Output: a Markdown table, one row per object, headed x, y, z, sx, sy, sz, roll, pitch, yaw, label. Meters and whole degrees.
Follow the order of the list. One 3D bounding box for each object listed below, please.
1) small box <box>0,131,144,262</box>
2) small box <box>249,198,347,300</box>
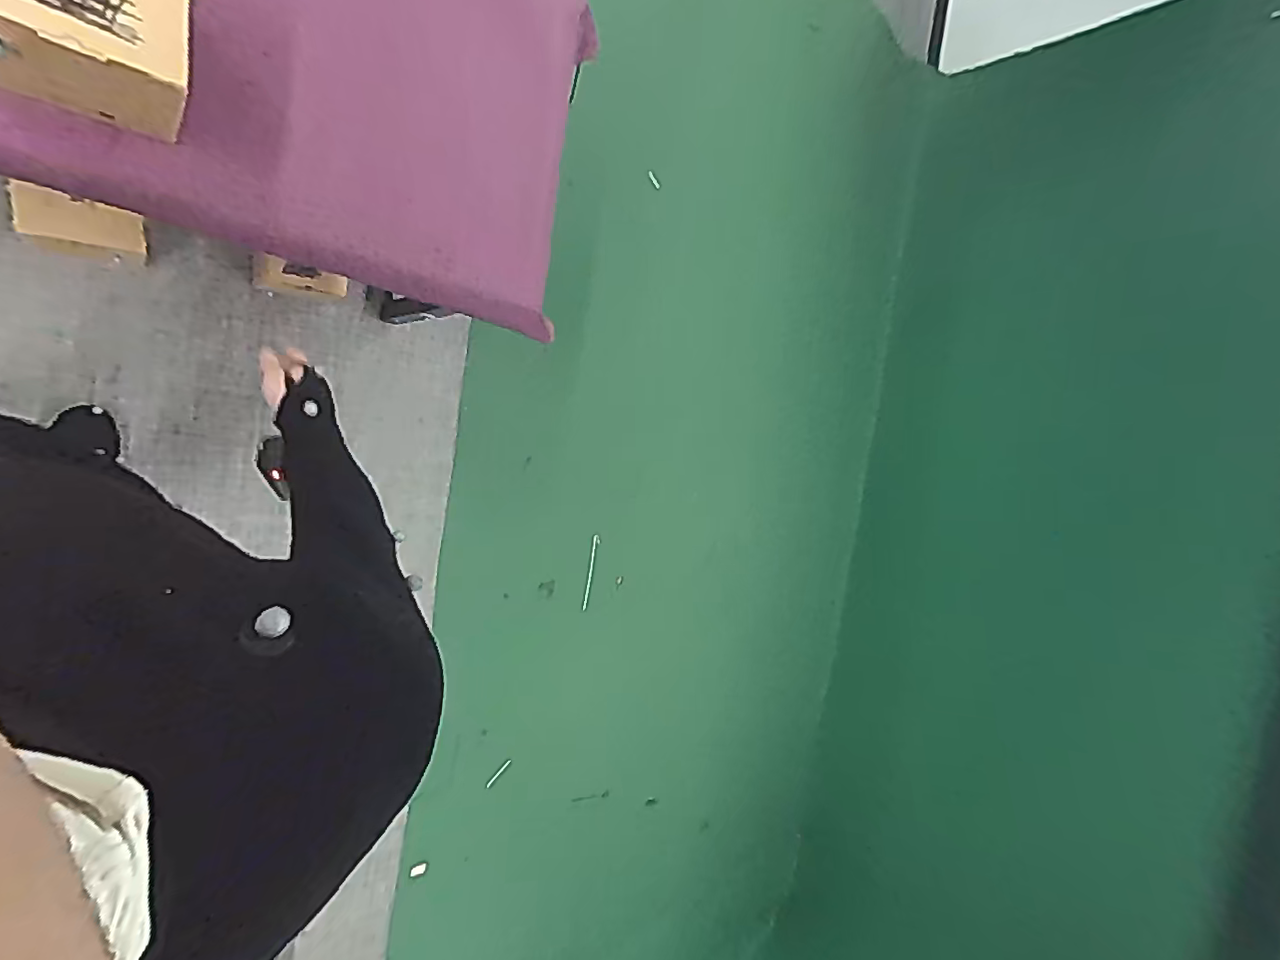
| x | y | z | sx | sy | sz | roll | pitch | yaw | label |
| --- | --- | --- | --- | --- | --- | --- | --- | --- | --- |
| -1.088 | -0.531 | 1.043 | 0.179 | 0.176 | 0.168 | -5 | 100 | -44 | small box |
| -0.826 | -0.543 | 1.303 | 0.168 | 0.176 | 0.179 | 0 | 97 | -46 | small box |
